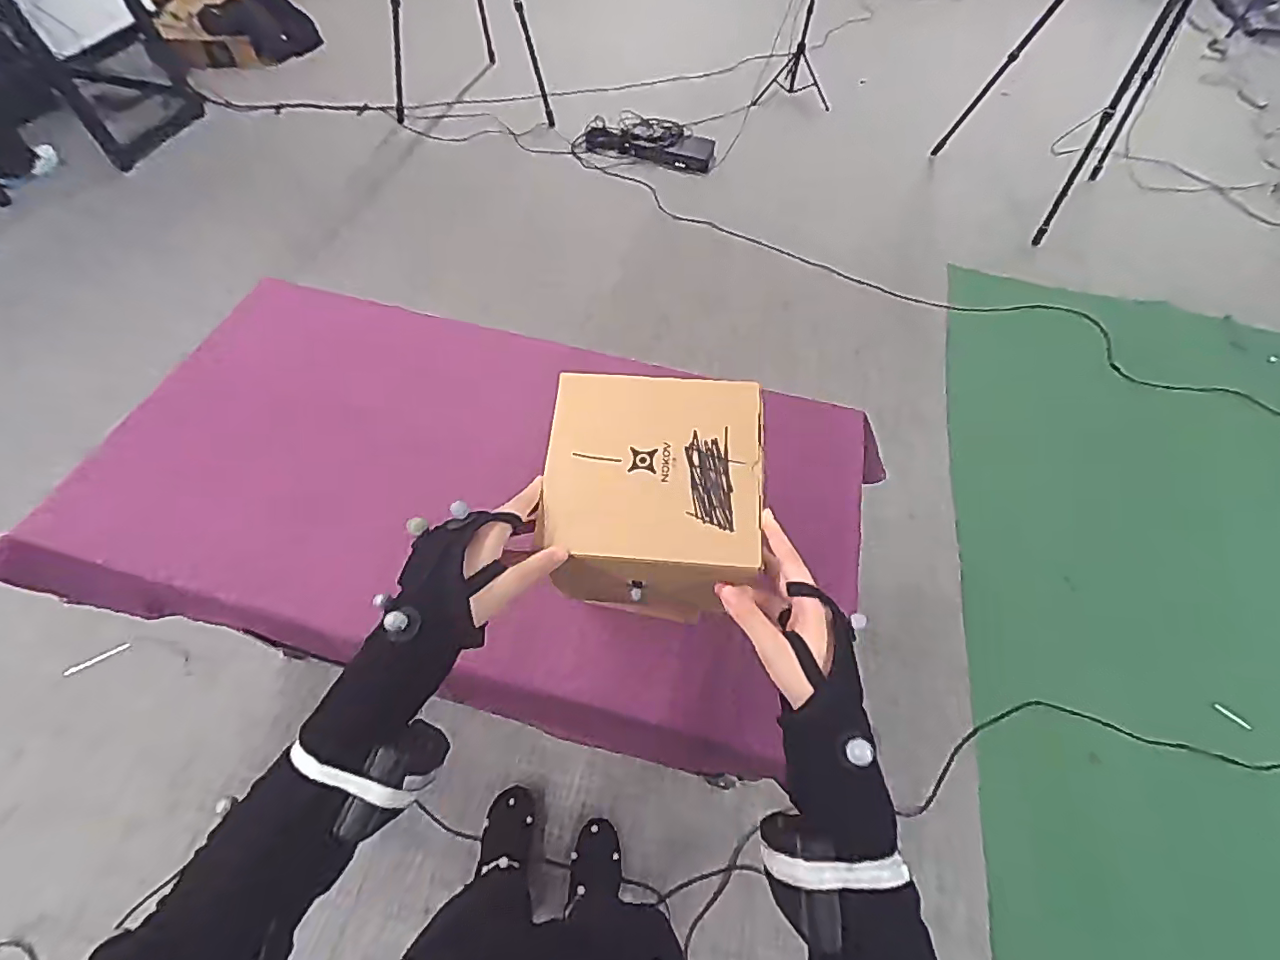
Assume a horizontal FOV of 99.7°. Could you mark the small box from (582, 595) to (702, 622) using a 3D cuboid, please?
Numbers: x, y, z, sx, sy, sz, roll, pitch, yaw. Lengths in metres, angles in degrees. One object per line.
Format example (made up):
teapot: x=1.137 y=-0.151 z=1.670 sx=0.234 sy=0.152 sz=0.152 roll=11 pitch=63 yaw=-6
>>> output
small box: x=0.014 y=0.079 z=0.740 sx=0.179 sy=0.176 sz=0.168 roll=11 pitch=57 yaw=5

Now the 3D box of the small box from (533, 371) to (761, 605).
small box: x=0.012 y=0.017 z=0.516 sx=0.179 sy=0.176 sz=0.168 roll=4 pitch=64 yaw=4
